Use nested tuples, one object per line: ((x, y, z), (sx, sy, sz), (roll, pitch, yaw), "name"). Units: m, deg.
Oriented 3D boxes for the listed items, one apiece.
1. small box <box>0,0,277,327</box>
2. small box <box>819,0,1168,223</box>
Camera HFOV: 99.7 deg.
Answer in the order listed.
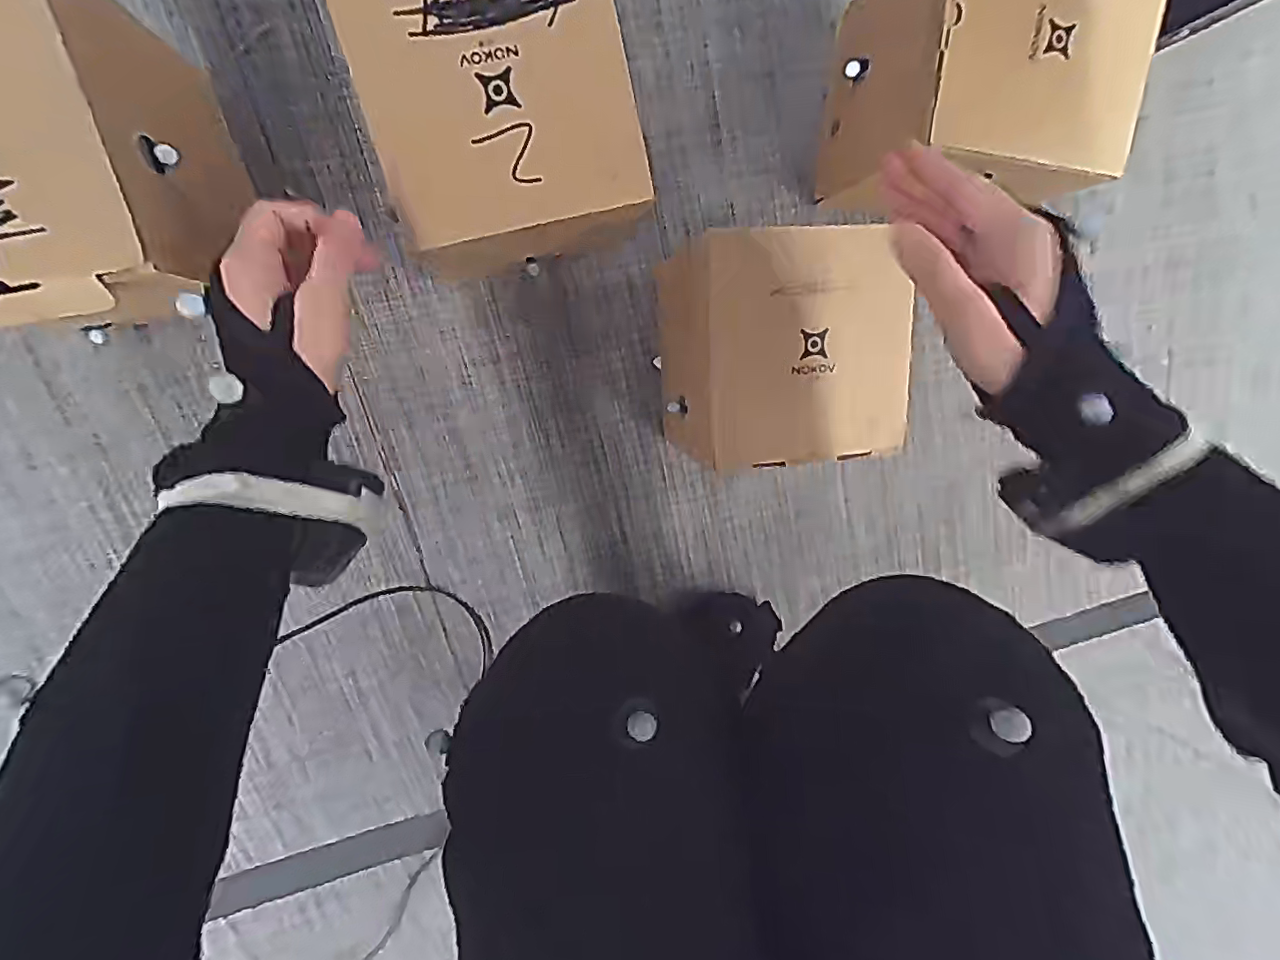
((-0.387, -0.204, 0.363), (0.168, 0.176, 0.179), (-14, 104, -8), "small box")
((0.284, -0.332, 0.465), (0.179, 0.176, 0.168), (2, 103, -11), "small box")
